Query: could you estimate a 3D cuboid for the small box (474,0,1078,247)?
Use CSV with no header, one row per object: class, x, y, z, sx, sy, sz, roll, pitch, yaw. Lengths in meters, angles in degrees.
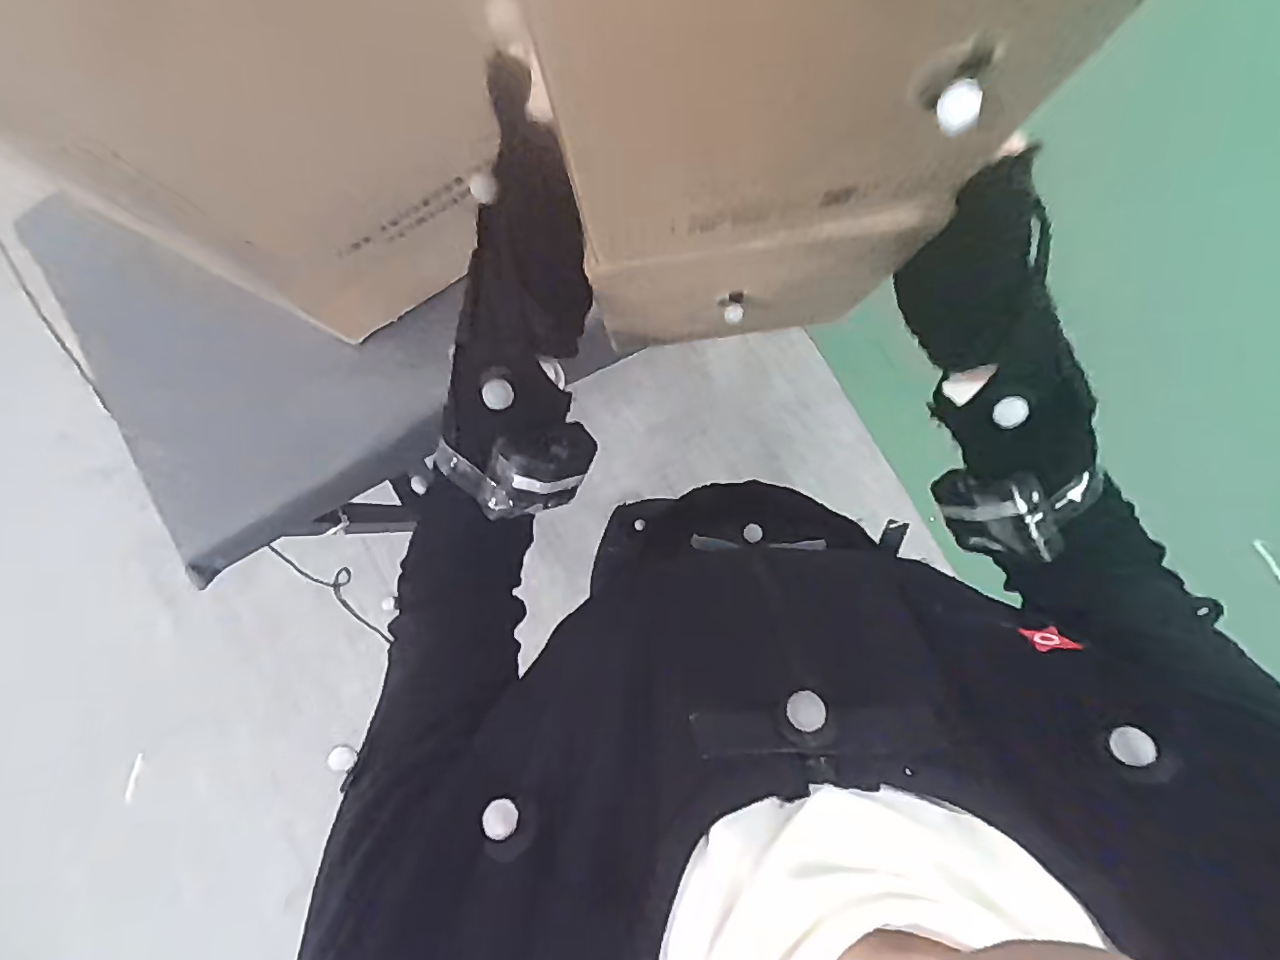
small box,0.034,-0.196,0.173,0.168,0.176,0.179,-10,89,0
